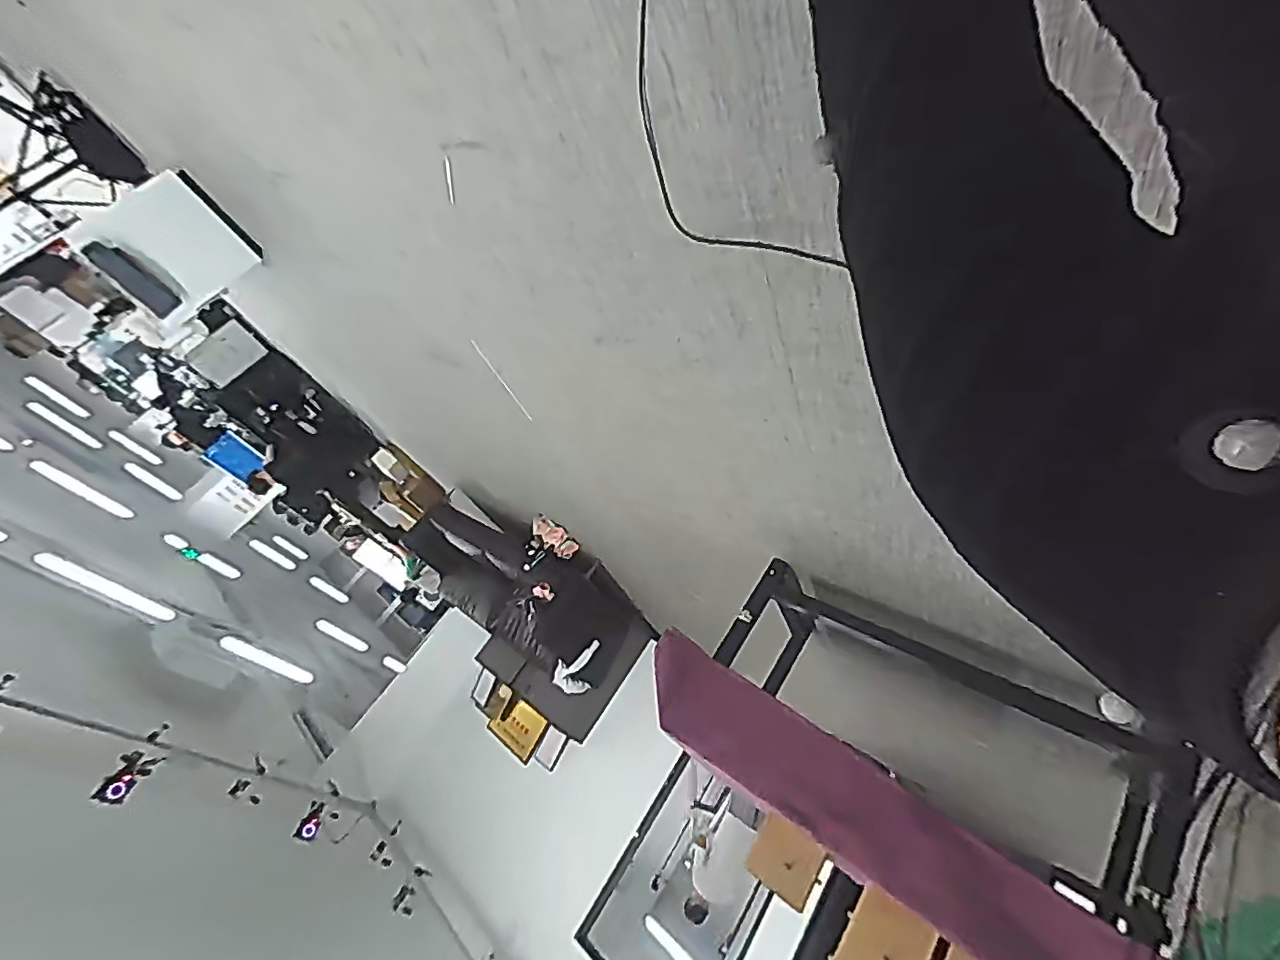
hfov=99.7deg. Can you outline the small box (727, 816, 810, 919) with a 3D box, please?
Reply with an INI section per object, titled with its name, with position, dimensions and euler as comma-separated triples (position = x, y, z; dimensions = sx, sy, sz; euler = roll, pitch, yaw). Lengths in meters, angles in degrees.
[small box]
position = 0.372, 1.096, 1.537
dimensions = 0.179, 0.176, 0.168
euler = 23, 153, 32
